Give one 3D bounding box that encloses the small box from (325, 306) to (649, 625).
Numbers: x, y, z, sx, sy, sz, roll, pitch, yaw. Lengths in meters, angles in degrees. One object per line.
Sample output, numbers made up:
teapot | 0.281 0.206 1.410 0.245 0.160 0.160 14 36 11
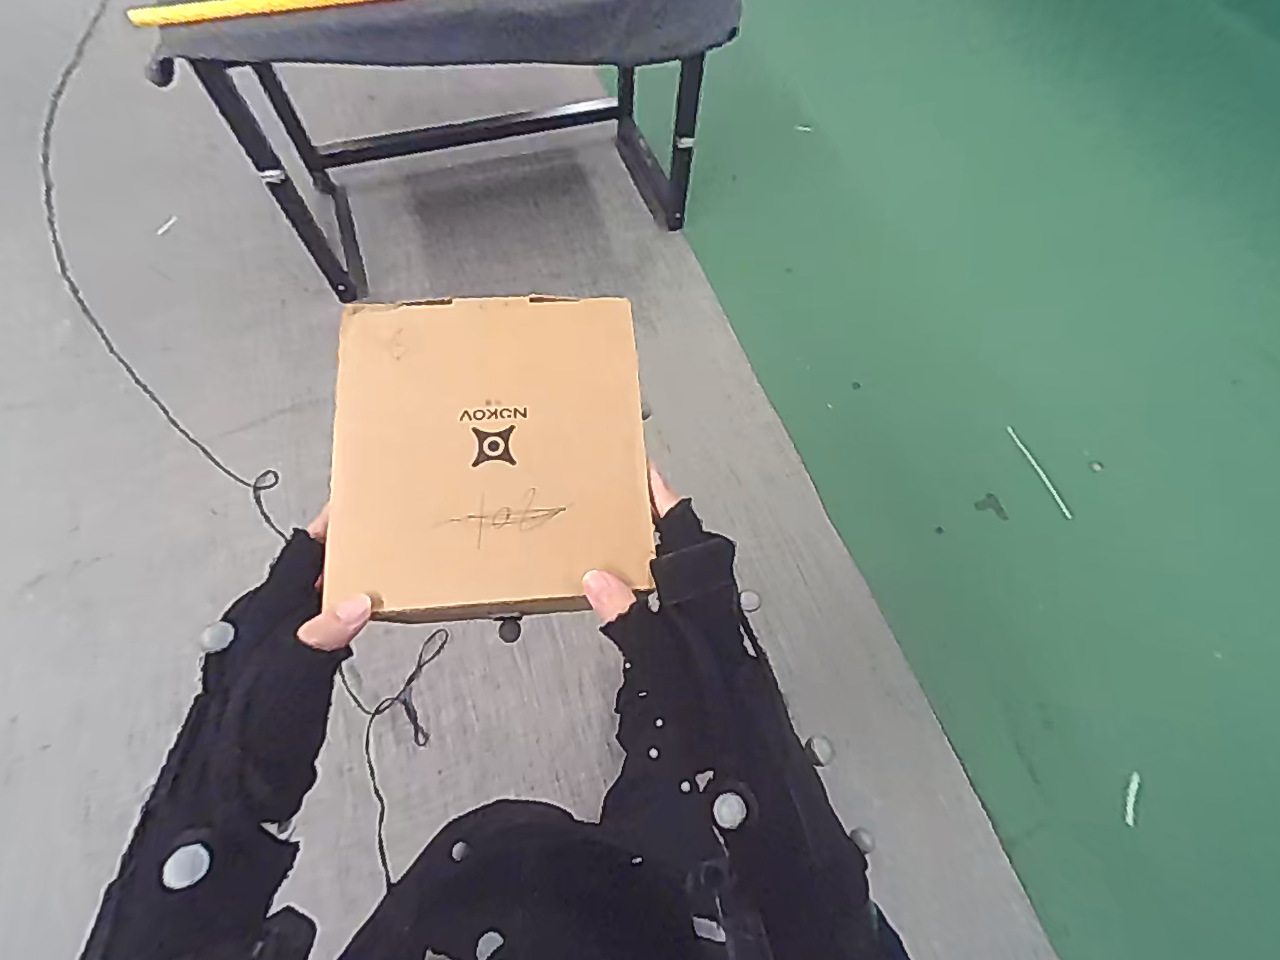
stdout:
small box | -0.091 0.002 0.378 0.168 0.176 0.179 -4 74 -7
